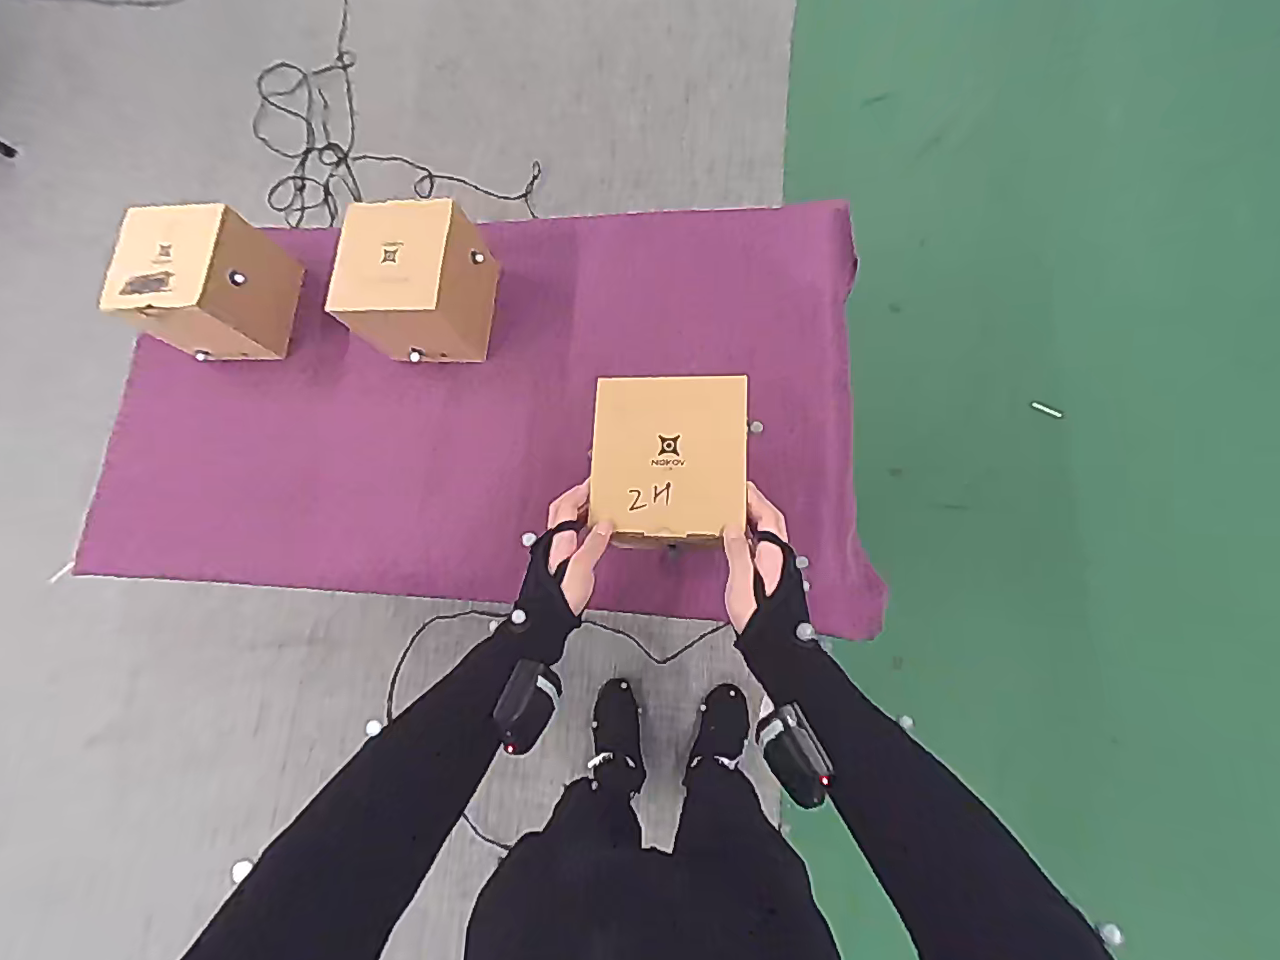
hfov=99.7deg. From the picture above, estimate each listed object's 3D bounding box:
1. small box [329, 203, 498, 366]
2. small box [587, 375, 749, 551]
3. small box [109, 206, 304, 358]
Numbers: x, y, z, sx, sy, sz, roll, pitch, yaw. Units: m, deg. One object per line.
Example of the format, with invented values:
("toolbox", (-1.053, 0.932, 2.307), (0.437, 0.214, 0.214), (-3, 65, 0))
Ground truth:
("small box", (-0.333, -0.294, 0.833), (0.168, 0.176, 0.179), (3, 77, 9))
("small box", (0.042, -0.013, 0.652), (0.168, 0.176, 0.179), (2, 78, 10))
("small box", (-0.688, -0.311, 0.881), (0.168, 0.176, 0.179), (2, 76, 7))
